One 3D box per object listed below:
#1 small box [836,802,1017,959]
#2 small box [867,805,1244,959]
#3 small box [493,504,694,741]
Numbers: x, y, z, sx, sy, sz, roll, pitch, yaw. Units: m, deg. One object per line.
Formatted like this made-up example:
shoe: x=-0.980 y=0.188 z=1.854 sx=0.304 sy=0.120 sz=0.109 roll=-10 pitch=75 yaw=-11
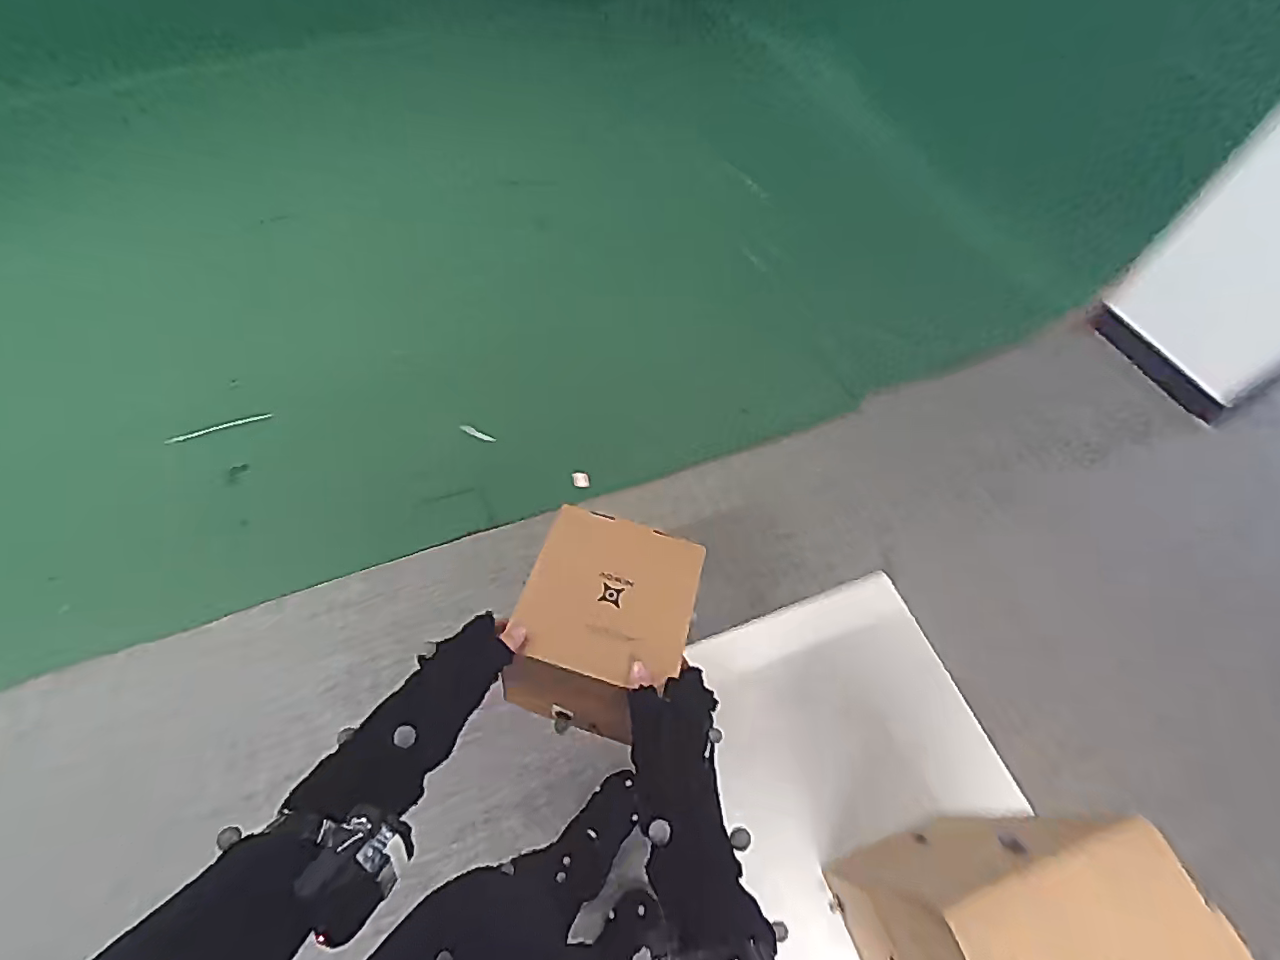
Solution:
small box: x=0.325 y=0.454 z=0.557 sx=0.179 sy=0.176 sz=0.168 roll=-18 pitch=61 yaw=-9
small box: x=0.314 y=0.370 z=0.417 sx=0.179 sy=0.176 sz=0.168 roll=-17 pitch=61 yaw=-8
small box: x=-0.049 y=0.160 z=0.598 sx=0.168 sy=0.176 sz=0.179 roll=14 pitch=51 yaw=2
